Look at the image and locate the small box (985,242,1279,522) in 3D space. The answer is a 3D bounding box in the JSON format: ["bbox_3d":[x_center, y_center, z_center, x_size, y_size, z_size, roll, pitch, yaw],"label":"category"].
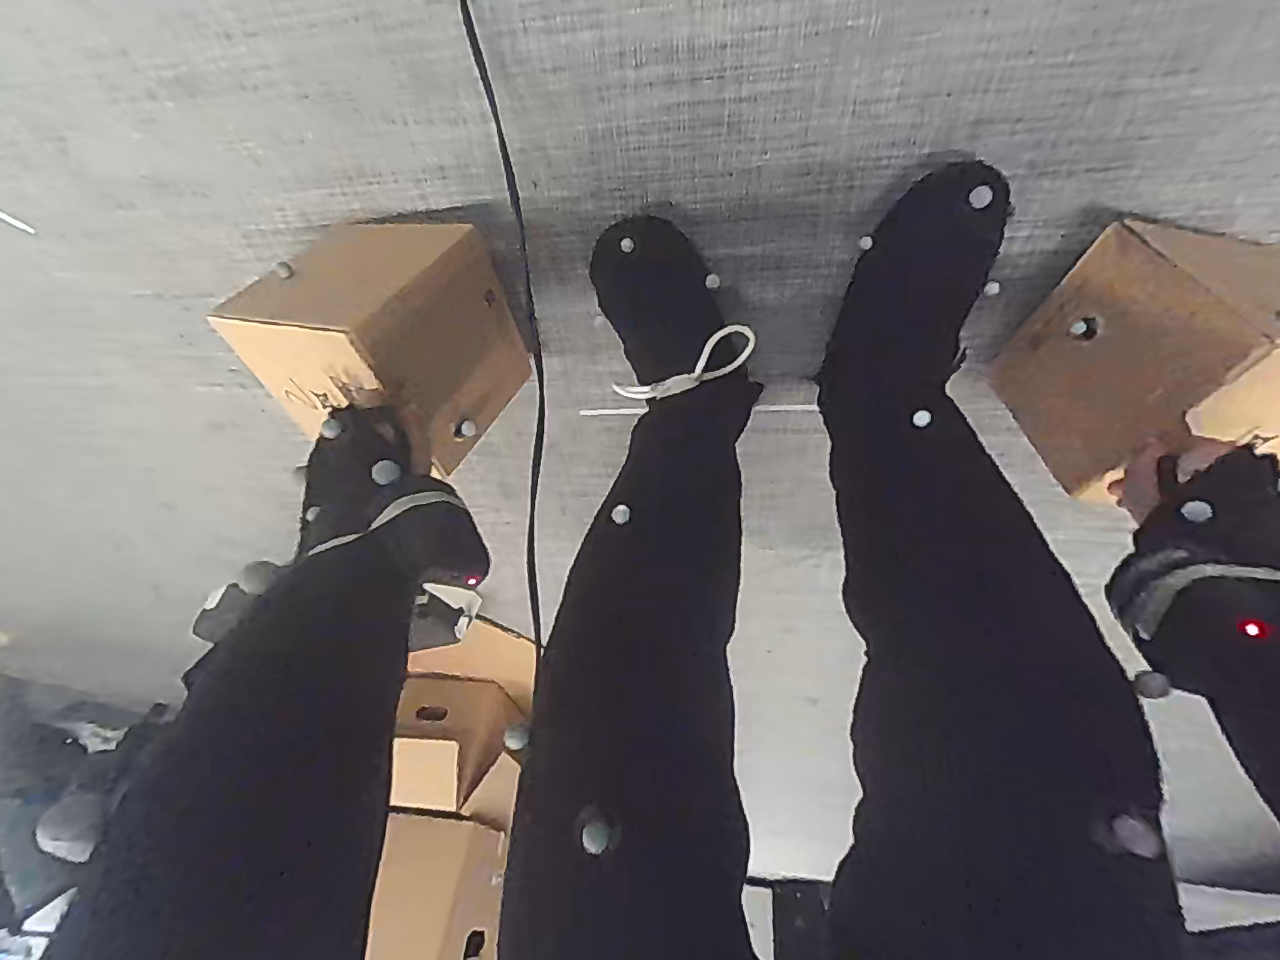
[{"bbox_3d":[0.454,-0.080,0.463,0.179,0.176,0.168,2,141,-12],"label":"small box"}]
